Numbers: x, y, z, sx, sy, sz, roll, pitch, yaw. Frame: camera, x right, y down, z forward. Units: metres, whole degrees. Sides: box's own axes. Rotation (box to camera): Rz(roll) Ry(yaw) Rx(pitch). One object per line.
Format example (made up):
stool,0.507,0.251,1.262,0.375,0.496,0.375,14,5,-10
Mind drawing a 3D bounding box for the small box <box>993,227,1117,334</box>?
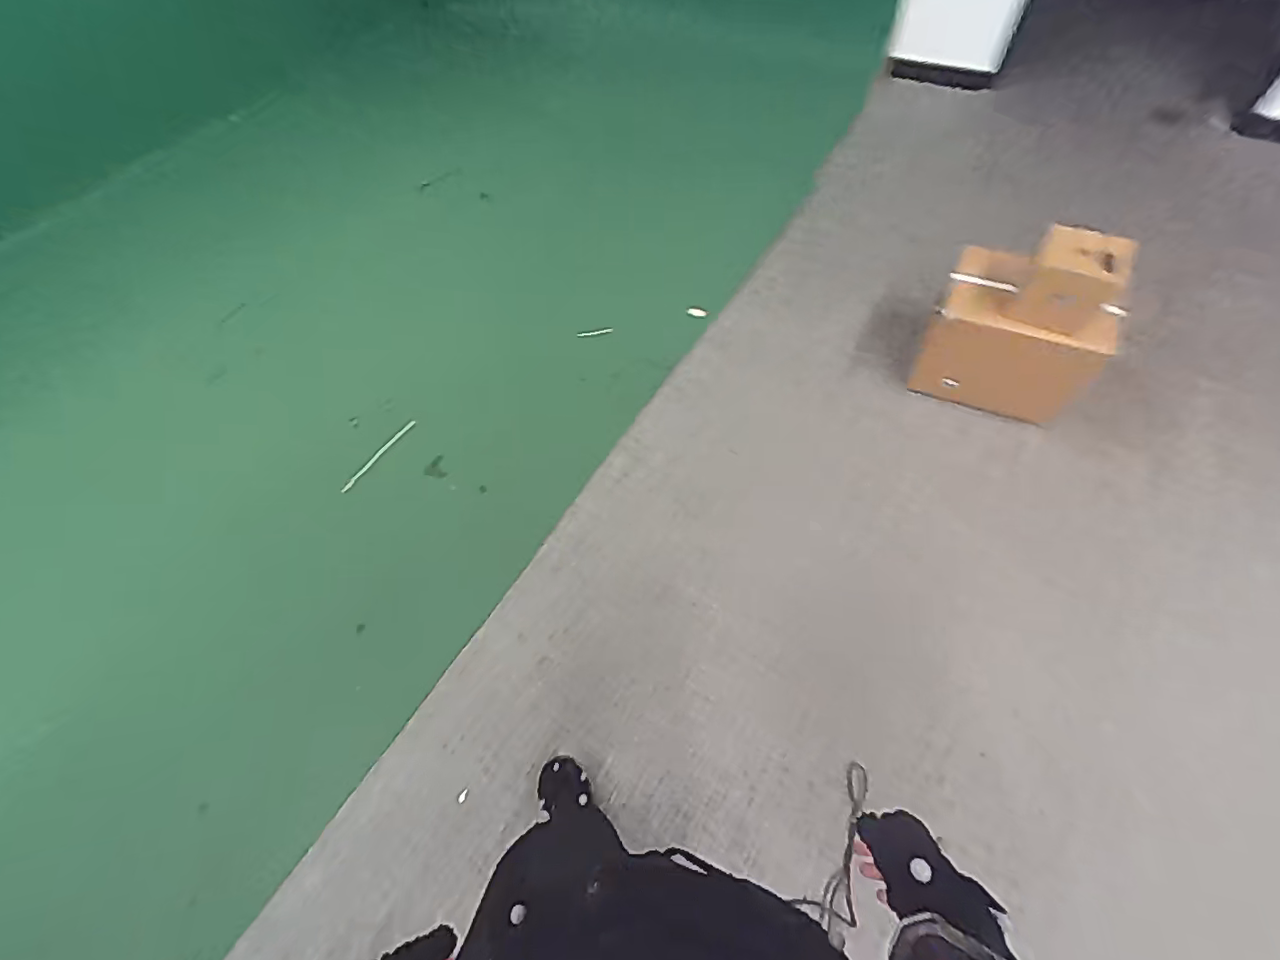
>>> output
small box,1.034,-0.495,1.356,0.179,0.176,0.168,24,66,19
